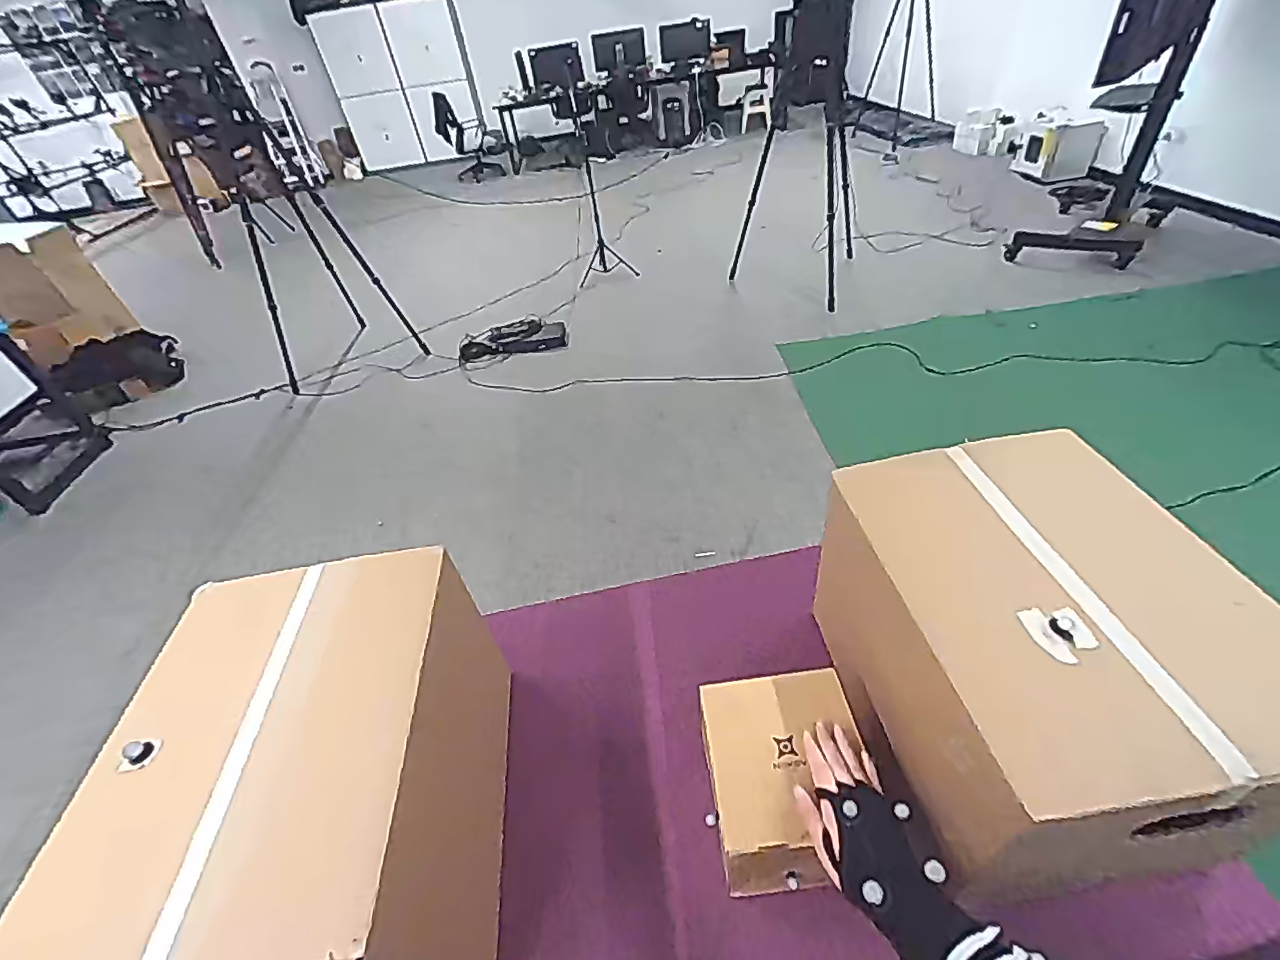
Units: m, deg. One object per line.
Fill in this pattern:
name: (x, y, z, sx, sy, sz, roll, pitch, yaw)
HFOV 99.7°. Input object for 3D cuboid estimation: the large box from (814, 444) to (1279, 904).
large box: (0.441, 0.213, 0.652, 0.320, 0.320, 0.408, -9, 42, 0)
